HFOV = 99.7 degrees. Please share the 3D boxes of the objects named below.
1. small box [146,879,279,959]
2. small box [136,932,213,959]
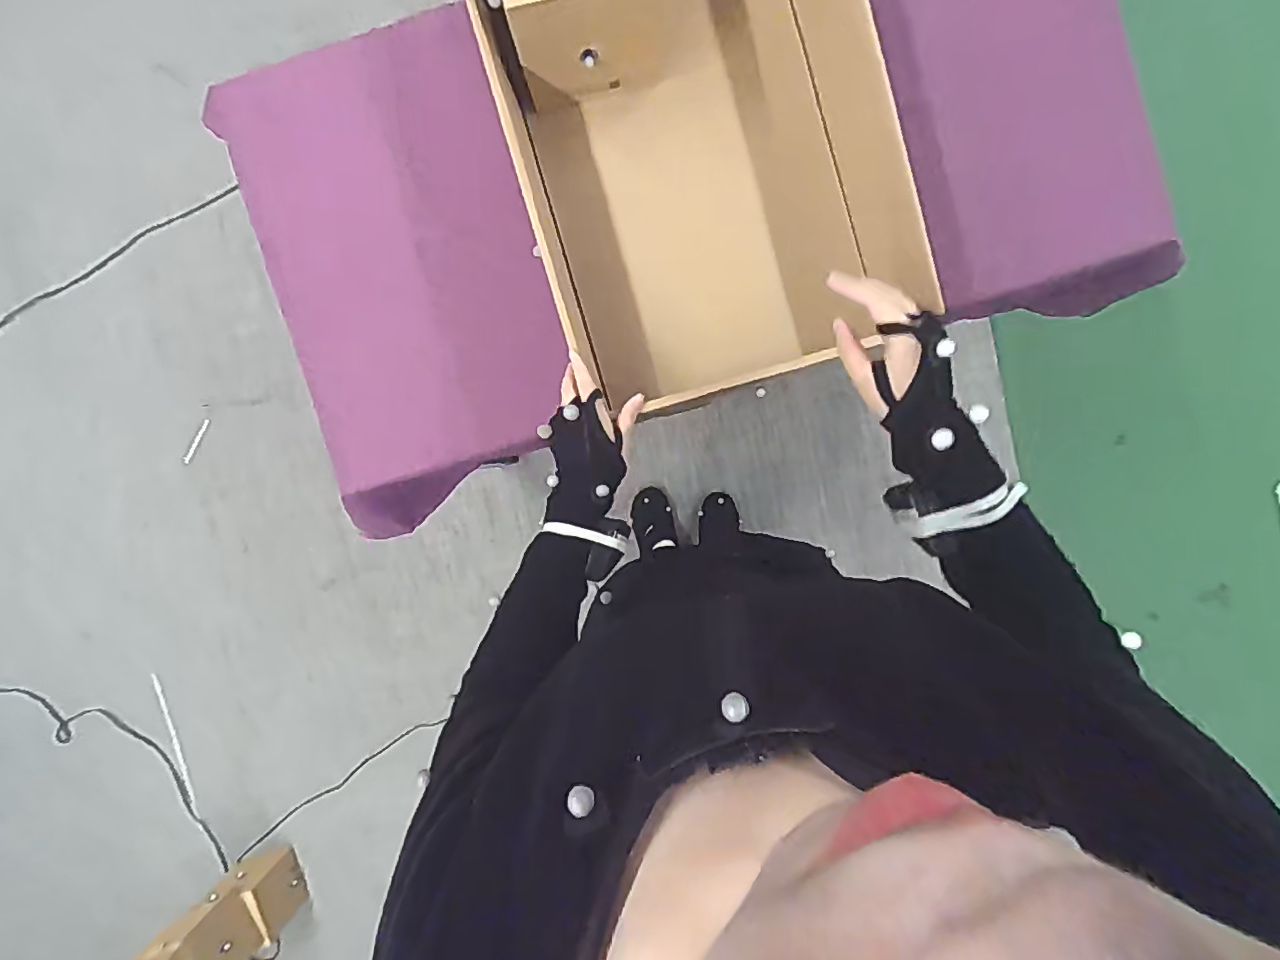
[{"bbox_3d":[-1.088,1.177,1.389,0.168,0.176,0.179,-27,92,5],"label":"small box"},{"bbox_3d":[-1.111,1.193,1.228,0.179,0.176,0.168,-24,92,4],"label":"small box"}]
